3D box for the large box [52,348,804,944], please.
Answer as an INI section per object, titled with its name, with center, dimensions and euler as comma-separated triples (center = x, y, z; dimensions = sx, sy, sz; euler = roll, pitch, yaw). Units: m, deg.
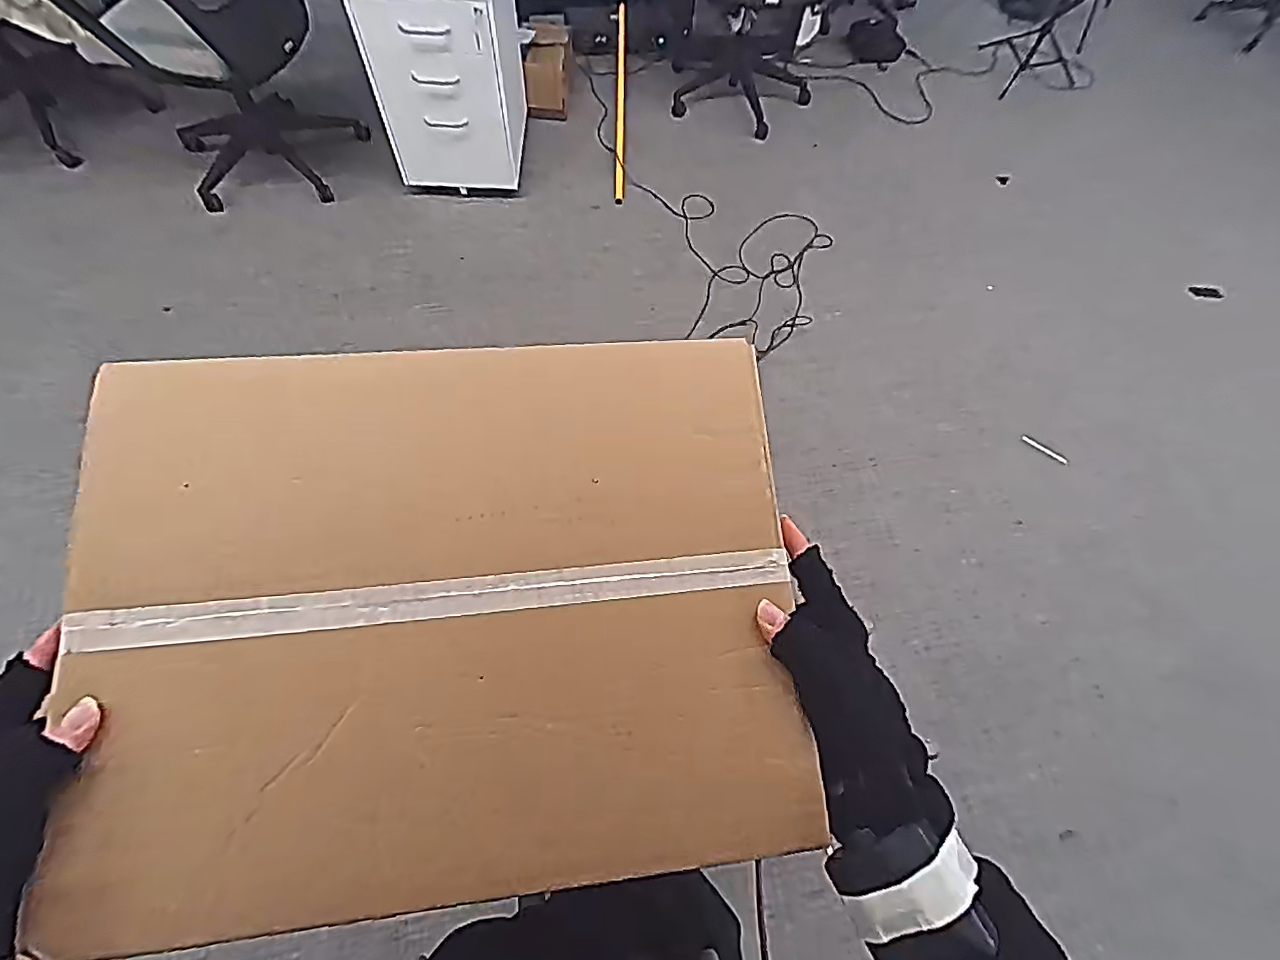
[large box]
center = -0.126, 0.102, 0.469
dimensions = 0.408, 0.320, 0.320
euler = -4, 76, -7
